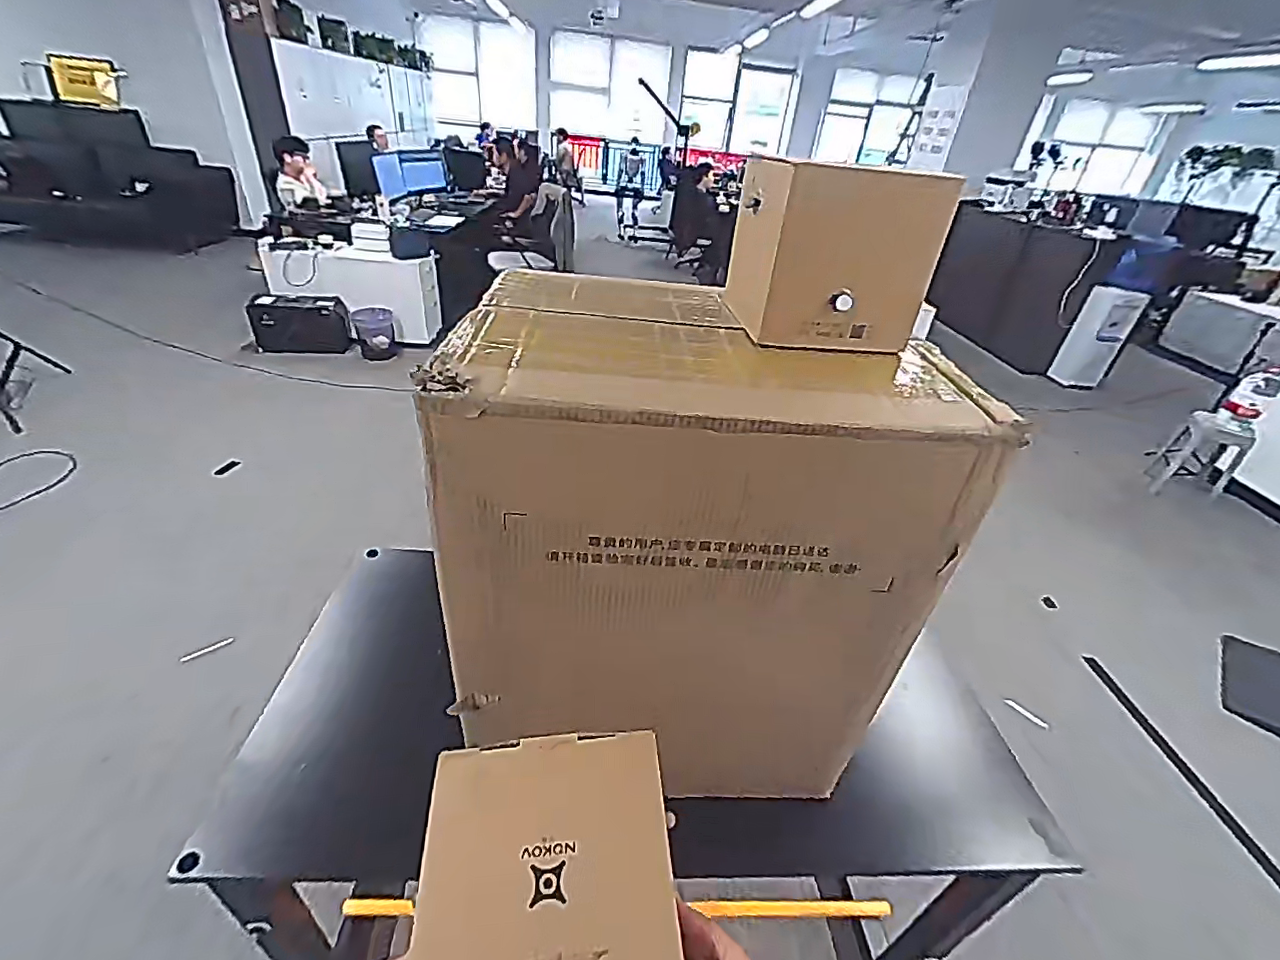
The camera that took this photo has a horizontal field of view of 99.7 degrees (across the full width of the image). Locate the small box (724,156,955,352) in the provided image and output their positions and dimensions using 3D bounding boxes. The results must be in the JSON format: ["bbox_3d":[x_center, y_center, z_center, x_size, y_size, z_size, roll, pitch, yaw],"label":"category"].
[{"bbox_3d":[0.198,-0.254,0.601,0.168,0.176,0.179,1,33,-6],"label":"small box"}]

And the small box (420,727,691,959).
[{"bbox_3d":[-0.058,0.319,0.415,0.168,0.176,0.179,-4,43,-6],"label":"small box"}]
